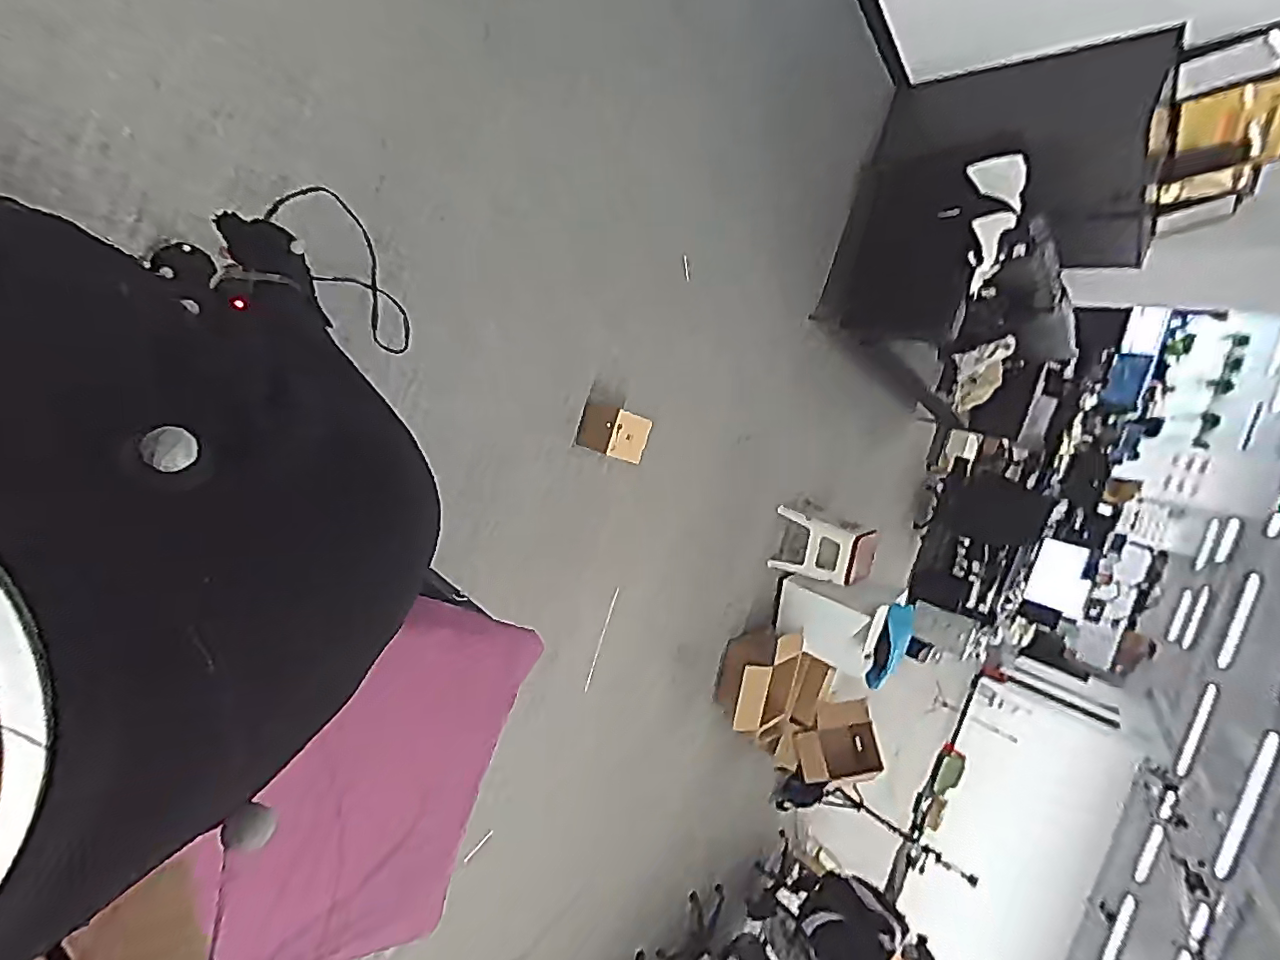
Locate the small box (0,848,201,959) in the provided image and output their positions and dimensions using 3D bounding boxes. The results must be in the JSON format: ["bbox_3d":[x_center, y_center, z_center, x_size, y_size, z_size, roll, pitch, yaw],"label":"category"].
[{"bbox_3d":[-0.492,0.460,0.448,0.168,0.176,0.179,19,90,-48],"label":"small box"}]

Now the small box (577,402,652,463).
[{"bbox_3d":[-0.094,-0.173,1.946,0.179,0.176,0.168,15,94,-48],"label":"small box"}]
